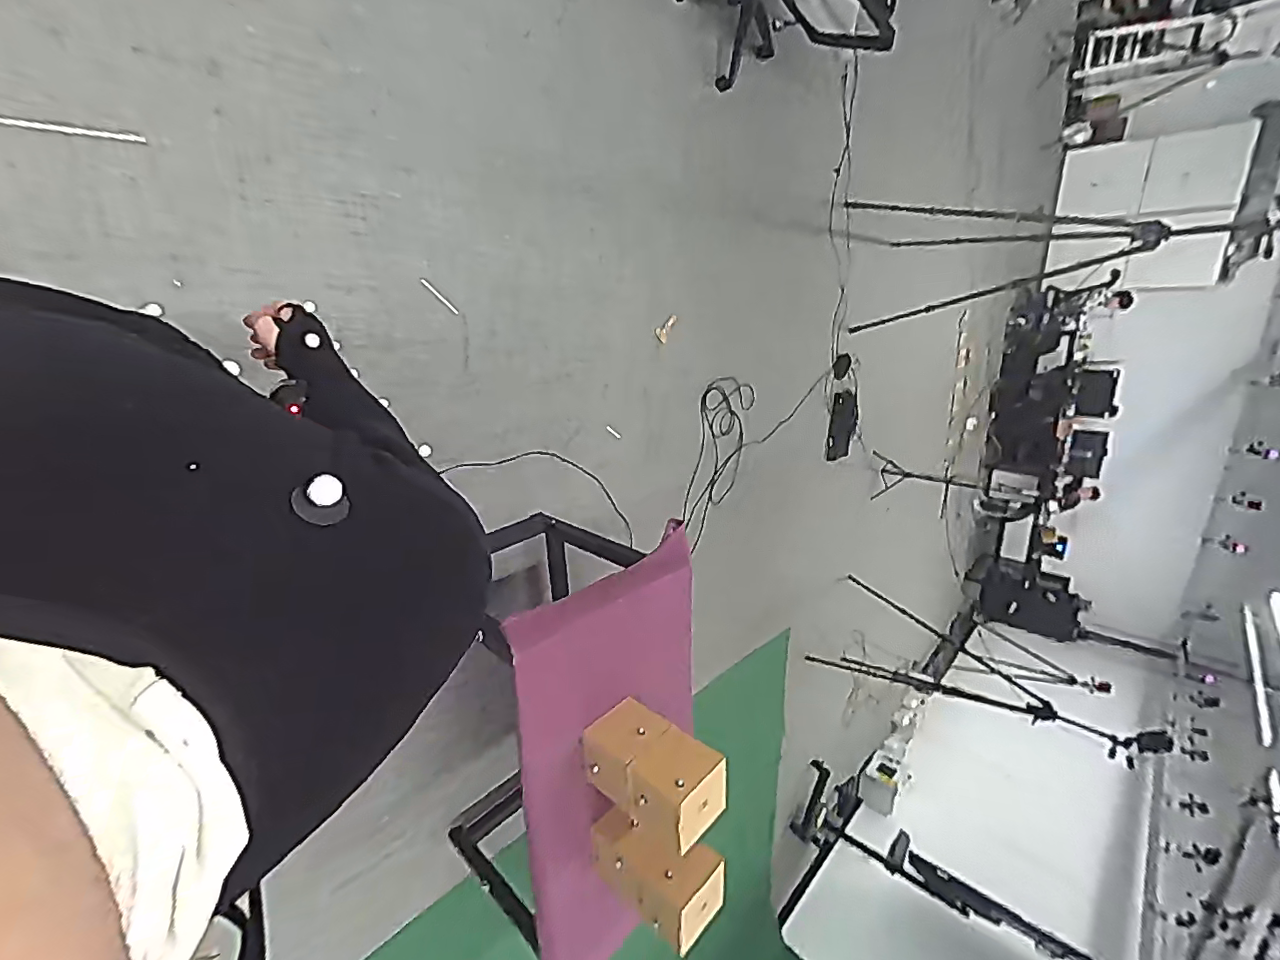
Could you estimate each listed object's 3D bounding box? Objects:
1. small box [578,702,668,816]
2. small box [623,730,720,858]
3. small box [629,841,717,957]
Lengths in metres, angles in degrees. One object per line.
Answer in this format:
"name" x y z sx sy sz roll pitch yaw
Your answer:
"small box" -0.043 0.725 1.431 0.179 0.176 0.168 -21 115 -43
"small box" 0.077 0.755 1.326 0.179 0.176 0.168 -21 116 -42
"small box" 0.084 1.071 1.423 0.179 0.176 0.168 -19 115 -44
